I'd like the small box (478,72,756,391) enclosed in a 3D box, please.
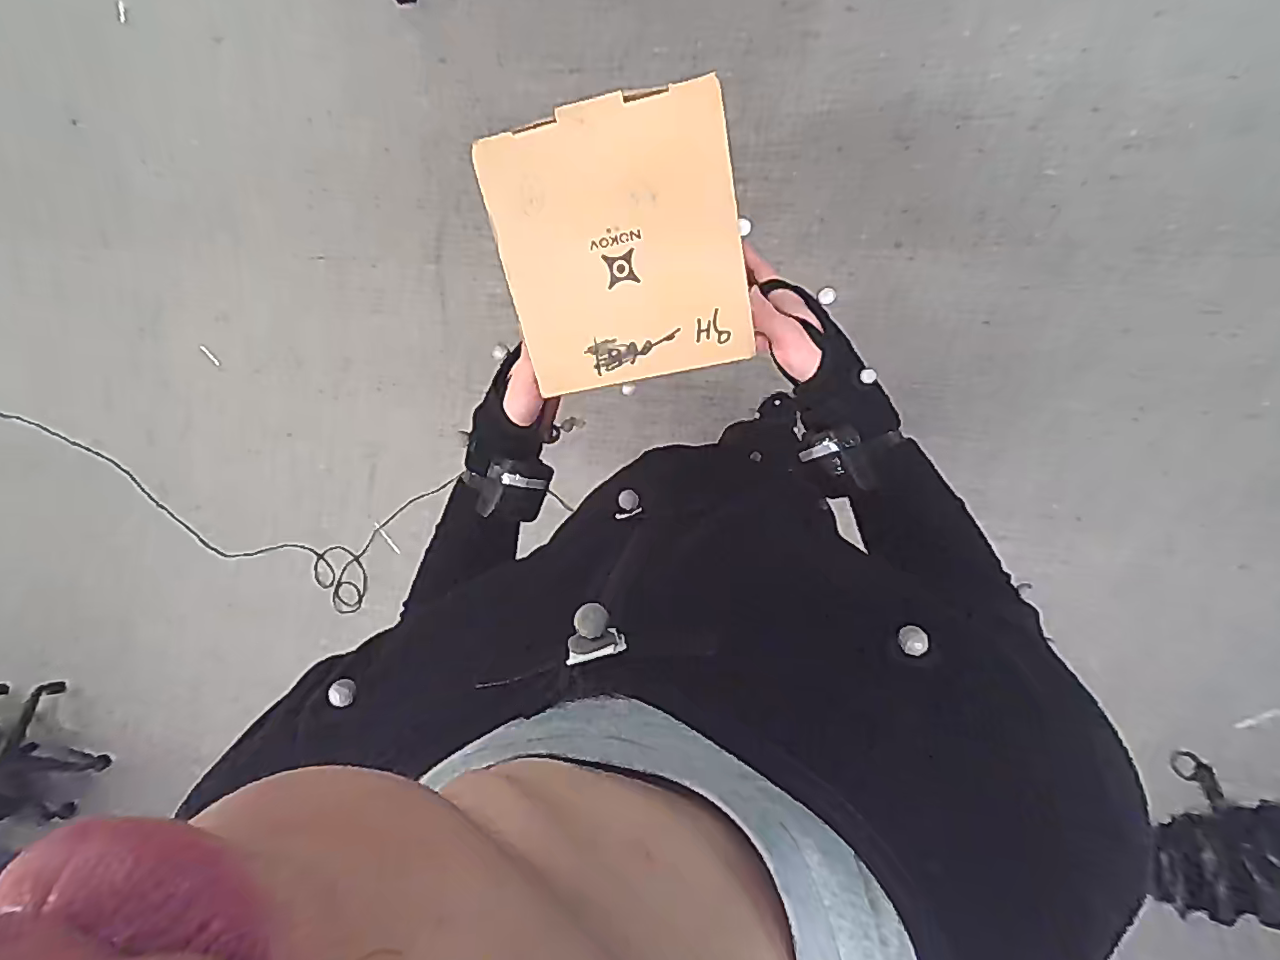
[{"bbox_3d":[-0.003,-0.188,0.443,0.168,0.176,0.179,-9,112,11],"label":"small box"}]
